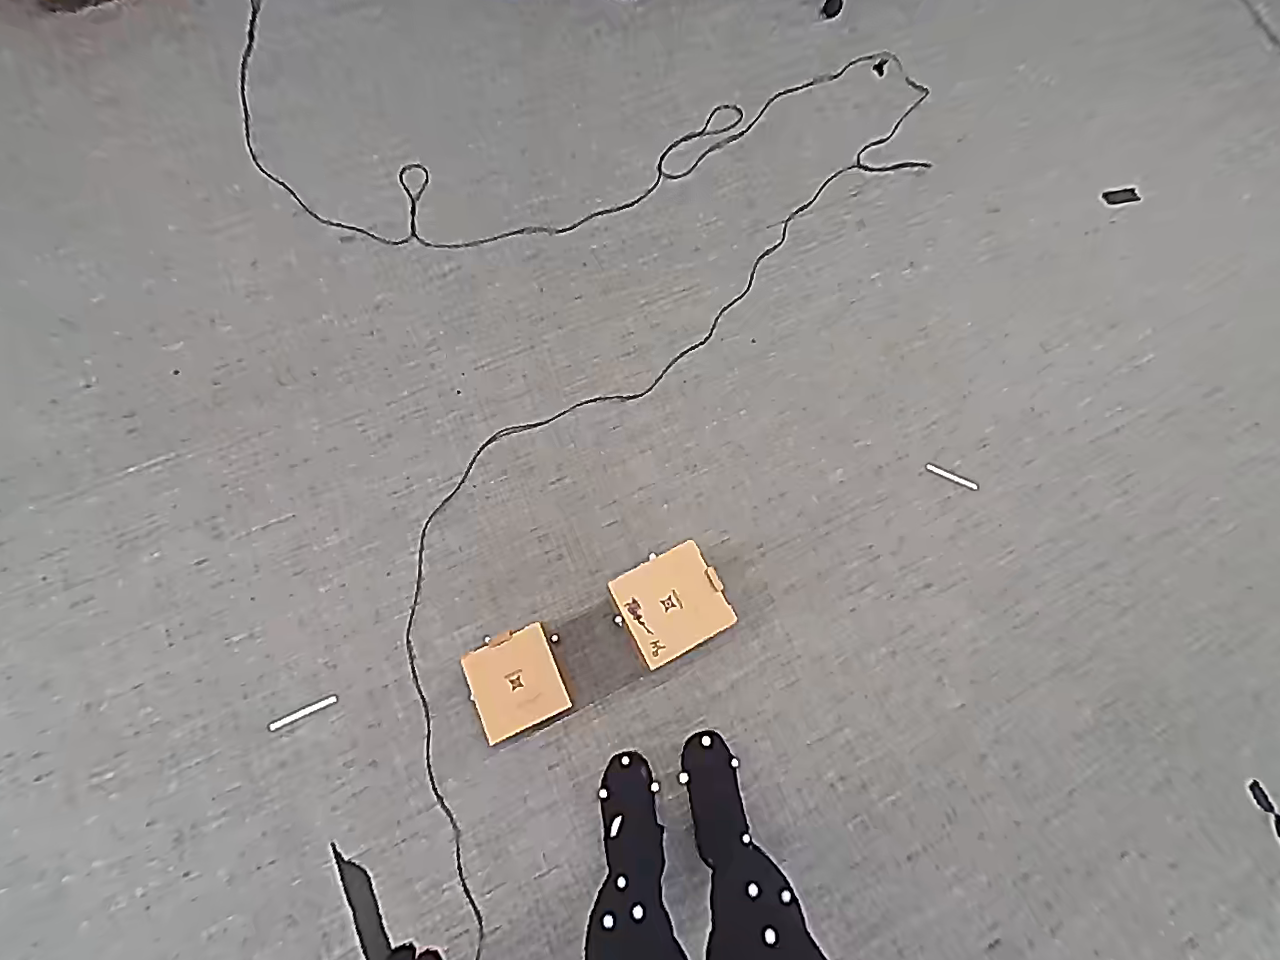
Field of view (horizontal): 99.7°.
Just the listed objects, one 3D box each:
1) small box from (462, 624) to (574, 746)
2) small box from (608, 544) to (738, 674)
[{"bbox_3d":[-0.242,0.411,1.111,0.168,0.176,0.179,-22,79,-9],"label":"small box"},{"bbox_3d":[0.051,0.238,1.006,0.179,0.176,0.168,-26,78,-11],"label":"small box"}]
